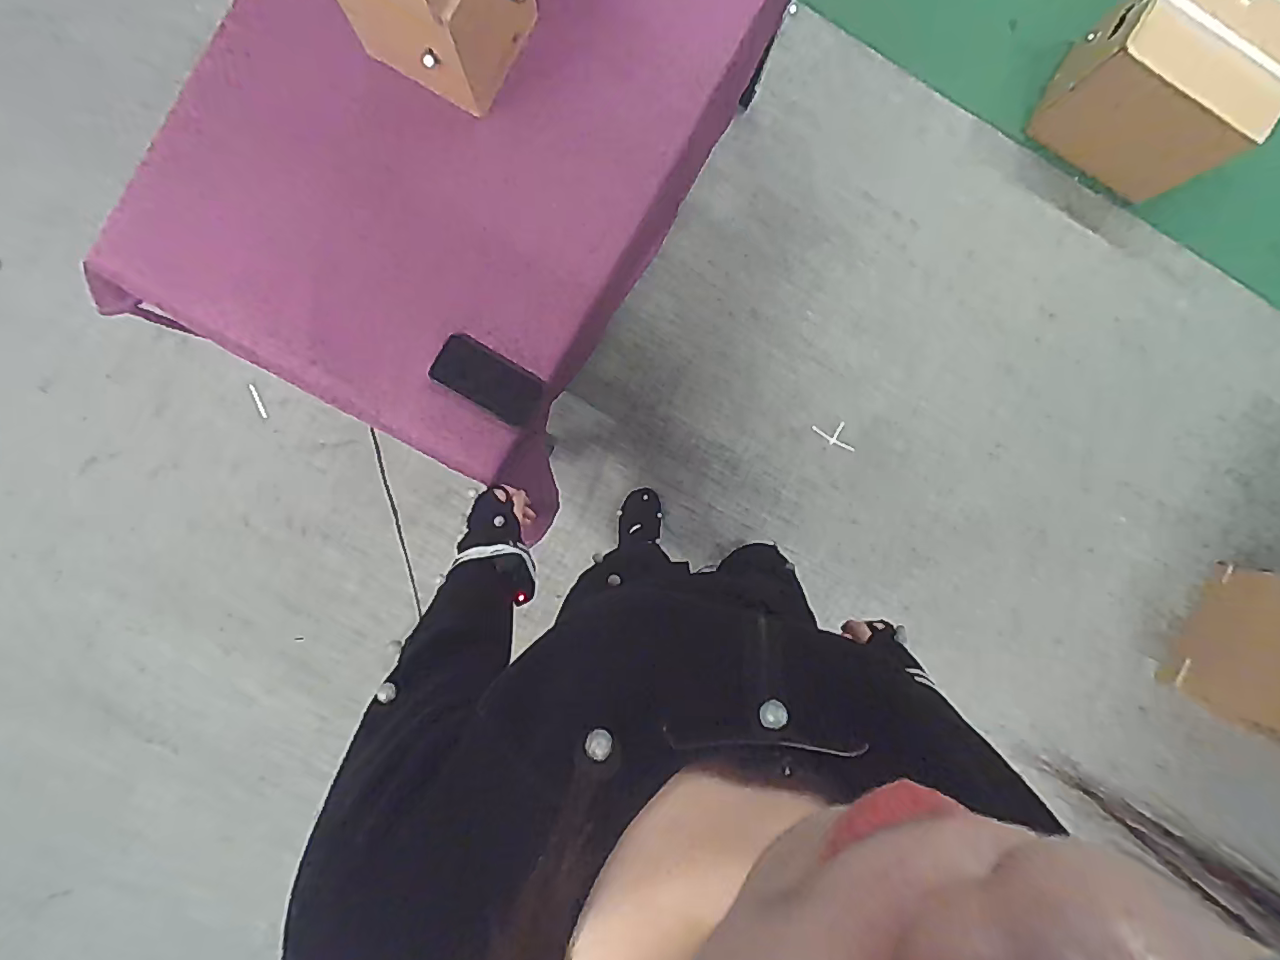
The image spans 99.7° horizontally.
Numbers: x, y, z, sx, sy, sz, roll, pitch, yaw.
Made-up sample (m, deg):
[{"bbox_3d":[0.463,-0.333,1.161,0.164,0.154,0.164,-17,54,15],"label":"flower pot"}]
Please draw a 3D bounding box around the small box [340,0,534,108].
[{"bbox_3d":[-0.247,-0.602,0.654,0.179,0.176,0.168,28,89,-3],"label":"small box"}]
